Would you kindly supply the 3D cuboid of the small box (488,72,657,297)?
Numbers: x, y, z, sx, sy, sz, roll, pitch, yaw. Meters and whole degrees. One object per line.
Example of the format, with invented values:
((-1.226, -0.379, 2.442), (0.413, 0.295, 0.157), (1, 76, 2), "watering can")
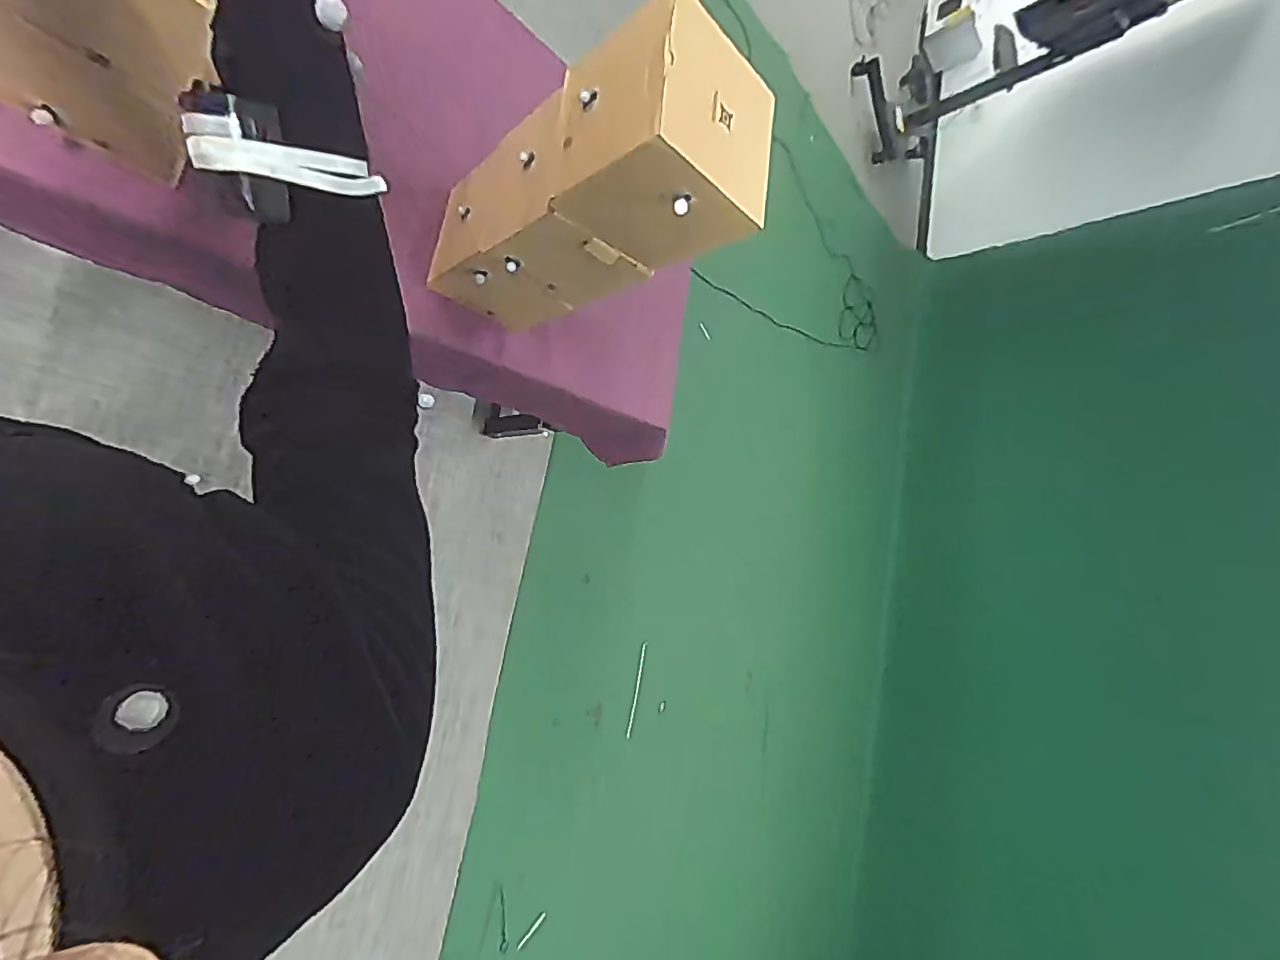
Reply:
((-0.083, -0.369, 0.719), (0.168, 0.176, 0.179), (15, 78, -44), "small box")

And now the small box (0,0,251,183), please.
((-0.516, -0.439, 0.528), (0.168, 0.176, 0.179), (22, 75, -42), "small box")

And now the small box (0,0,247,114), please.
((-0.402, -0.439, 0.409), (0.168, 0.176, 0.179), (21, 74, -41), "small box")

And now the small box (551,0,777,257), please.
((0.028, -0.372, 0.600), (0.179, 0.176, 0.168), (13, 80, -43), "small box")
